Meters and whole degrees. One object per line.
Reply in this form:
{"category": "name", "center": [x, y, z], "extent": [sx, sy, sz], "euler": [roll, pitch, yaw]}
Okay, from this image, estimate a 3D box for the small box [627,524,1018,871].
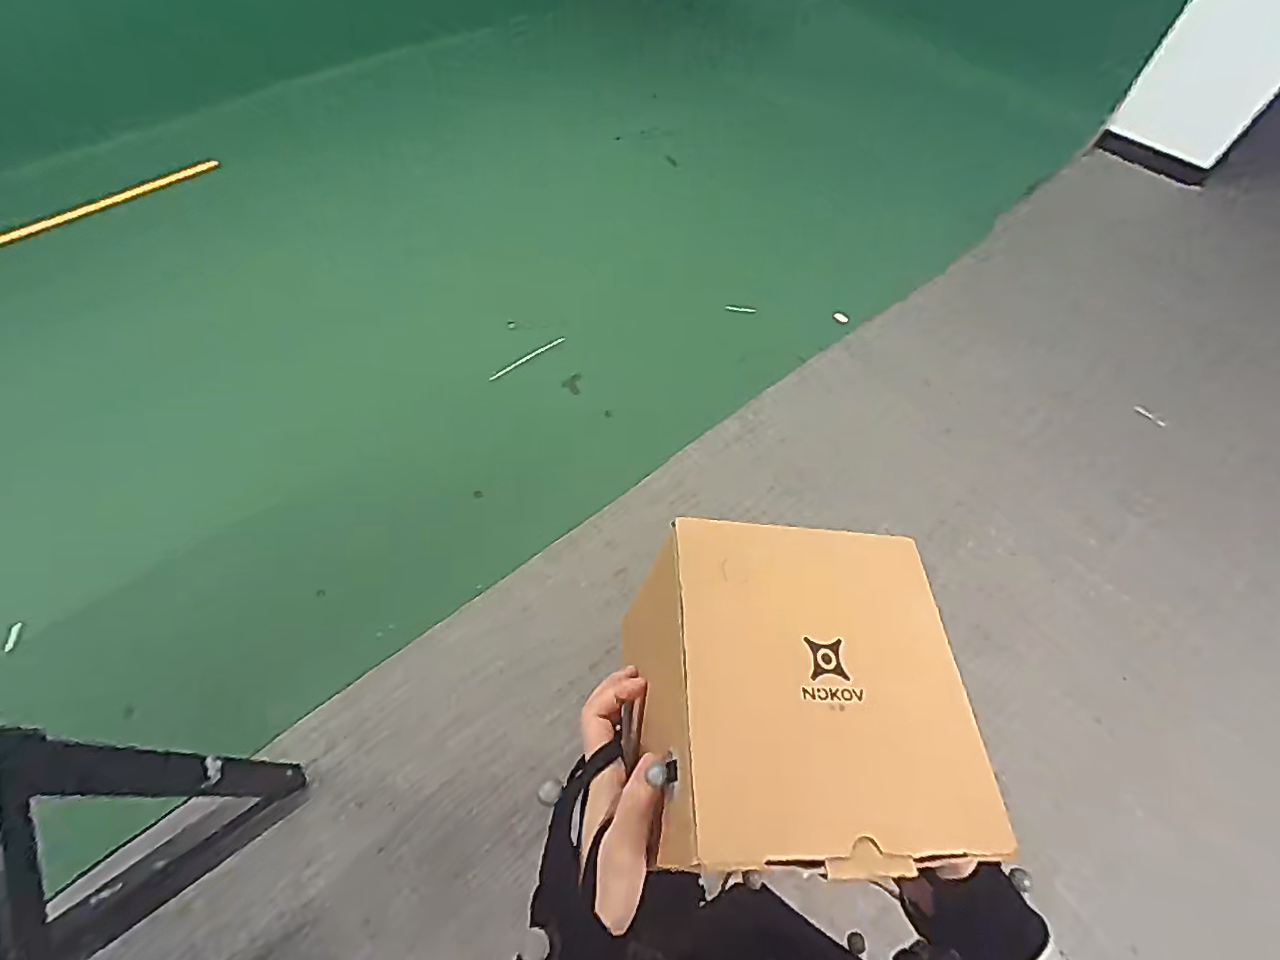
{"category": "small box", "center": [0.087, 0.151, 0.361], "extent": [0.168, 0.176, 0.179], "euler": [6, 55, -11]}
